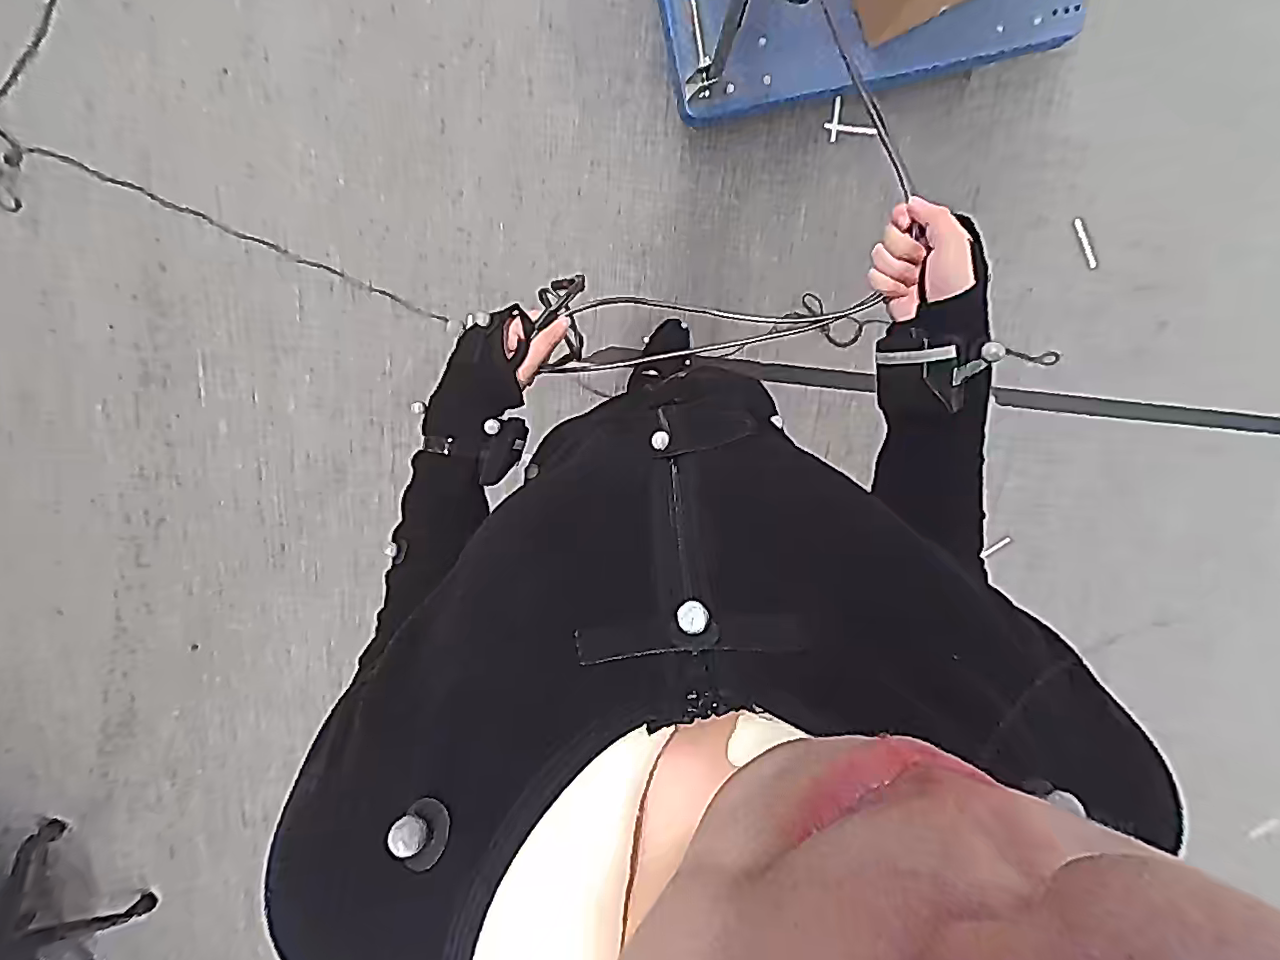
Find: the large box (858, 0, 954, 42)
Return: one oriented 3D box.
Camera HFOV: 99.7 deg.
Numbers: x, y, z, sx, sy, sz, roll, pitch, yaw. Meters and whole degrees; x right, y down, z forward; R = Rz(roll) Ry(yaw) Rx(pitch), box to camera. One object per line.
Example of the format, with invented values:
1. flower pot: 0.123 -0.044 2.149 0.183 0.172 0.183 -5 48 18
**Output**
1. large box: 0.534 -1.101 0.920 0.320 0.320 0.408 -26 105 4
